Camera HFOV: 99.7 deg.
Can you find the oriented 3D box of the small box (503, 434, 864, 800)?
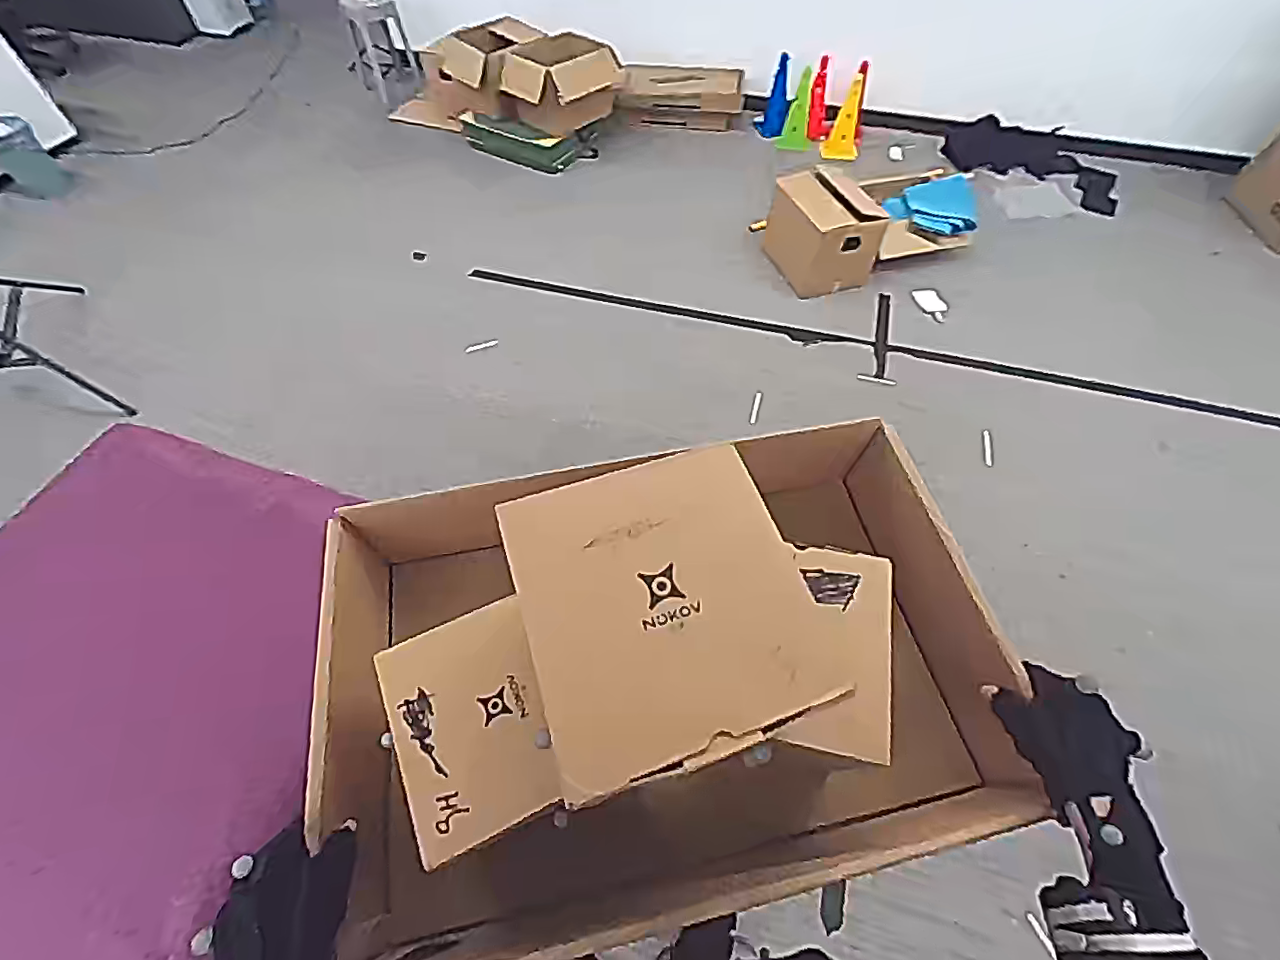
[{"bbox_3d":[0.016,0.101,0.381,0.168,0.176,0.179,-16,61,-12],"label":"small box"}]
